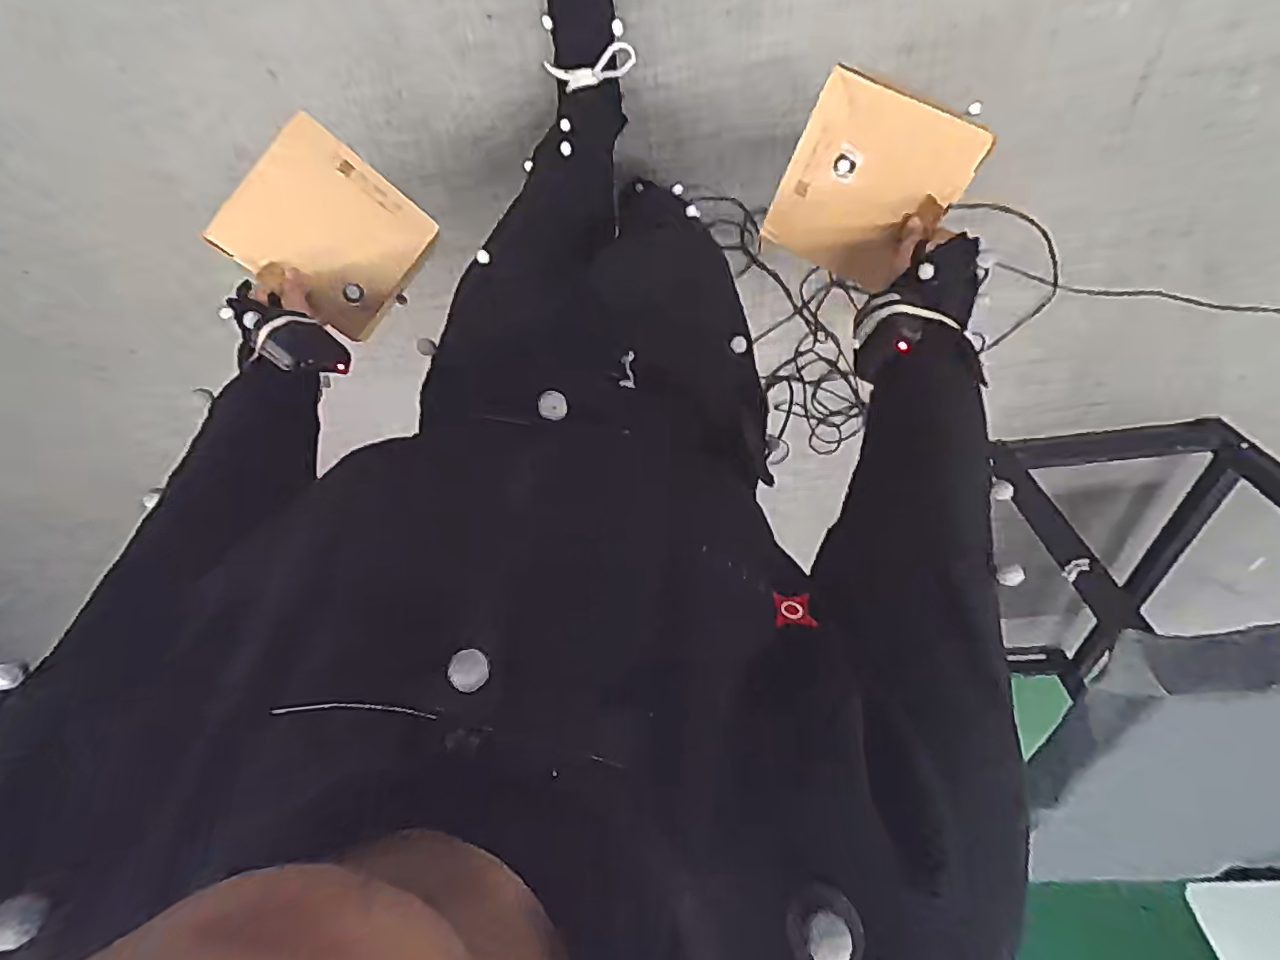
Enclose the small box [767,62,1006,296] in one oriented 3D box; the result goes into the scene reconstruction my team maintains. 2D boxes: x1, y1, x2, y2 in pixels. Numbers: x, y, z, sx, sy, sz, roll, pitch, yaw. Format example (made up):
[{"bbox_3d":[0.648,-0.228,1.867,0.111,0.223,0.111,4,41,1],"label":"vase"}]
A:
[{"bbox_3d":[0.269,-0.341,0.609,0.176,0.179,0.168,31,133,8],"label":"small box"}]
